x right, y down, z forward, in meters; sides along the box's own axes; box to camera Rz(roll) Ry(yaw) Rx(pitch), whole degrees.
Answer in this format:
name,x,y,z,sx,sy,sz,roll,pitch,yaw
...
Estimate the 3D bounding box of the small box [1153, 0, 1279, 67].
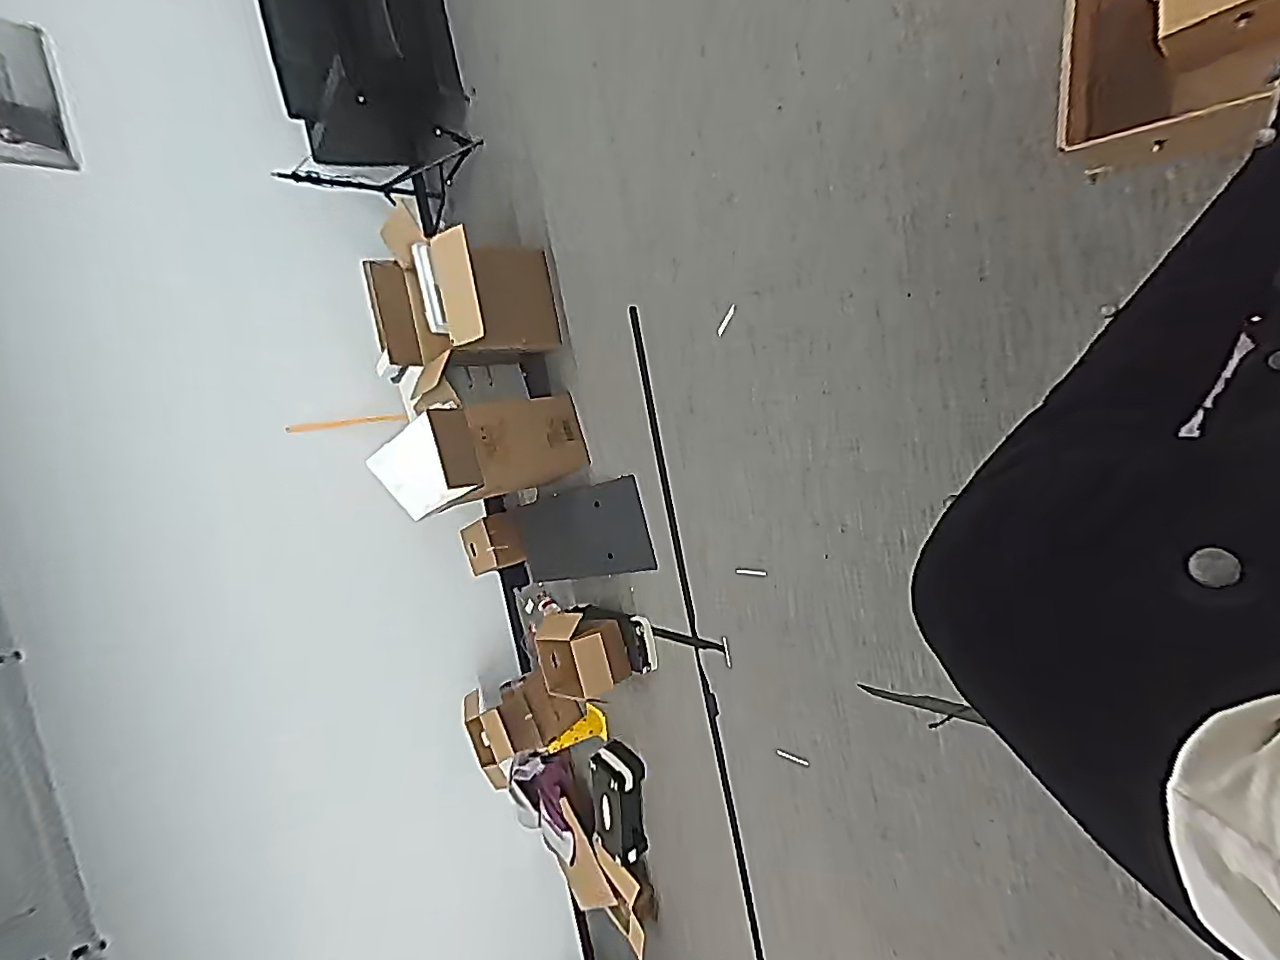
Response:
name,x,y,z,sx,sy,sz,roll,pitch,yaw
small box,0.796,-0.681,0.697,0.179,0.176,0.168,4,104,49
